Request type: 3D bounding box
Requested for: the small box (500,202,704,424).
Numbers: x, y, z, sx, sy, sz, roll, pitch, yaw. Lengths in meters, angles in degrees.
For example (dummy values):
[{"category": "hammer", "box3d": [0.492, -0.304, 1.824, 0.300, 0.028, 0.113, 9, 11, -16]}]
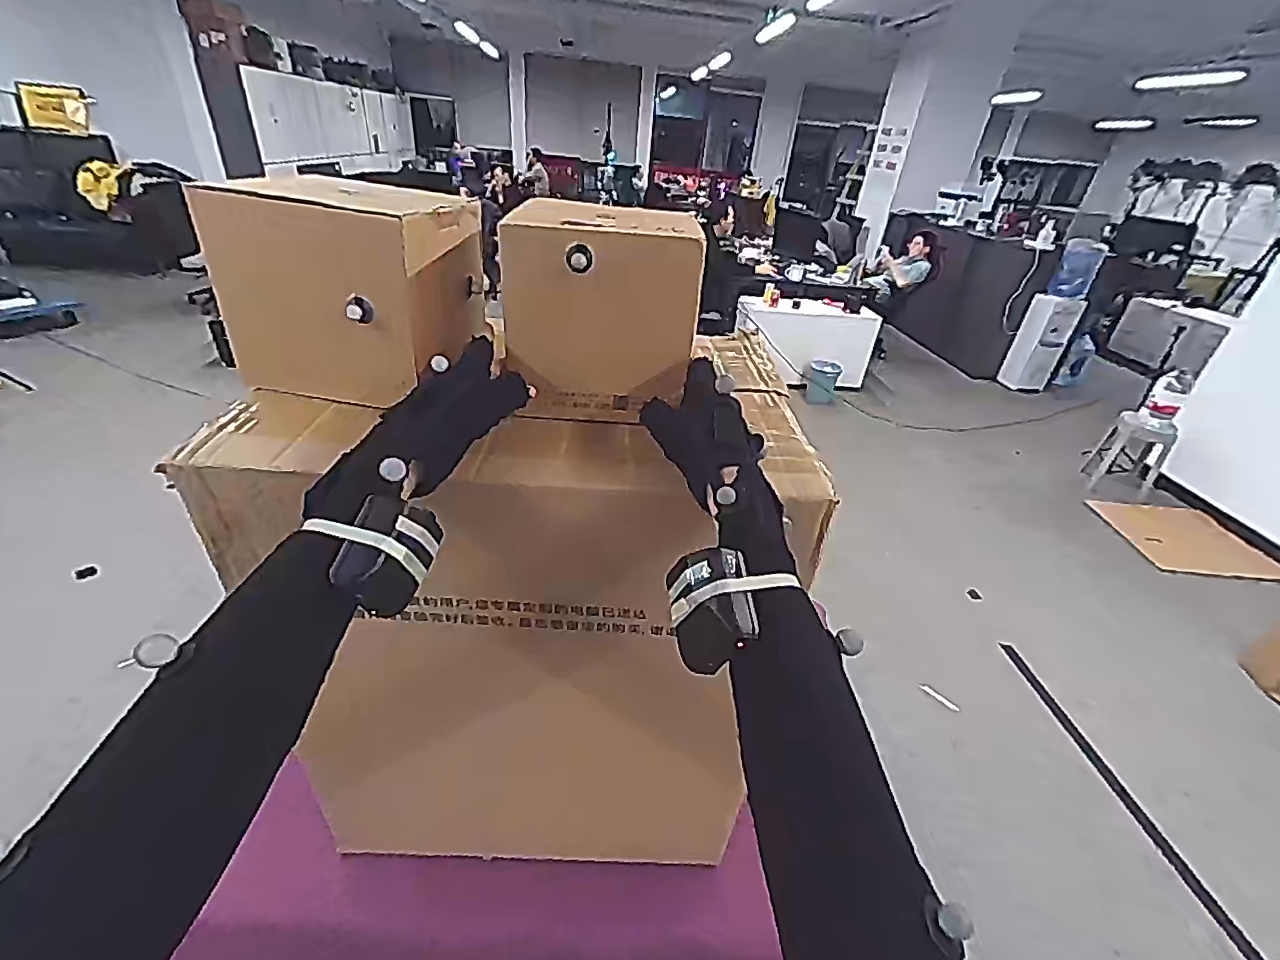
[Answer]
[{"category": "small box", "box3d": [-0.036, -0.170, 0.537, 0.168, 0.176, 0.179, 3, 31, -2]}]
